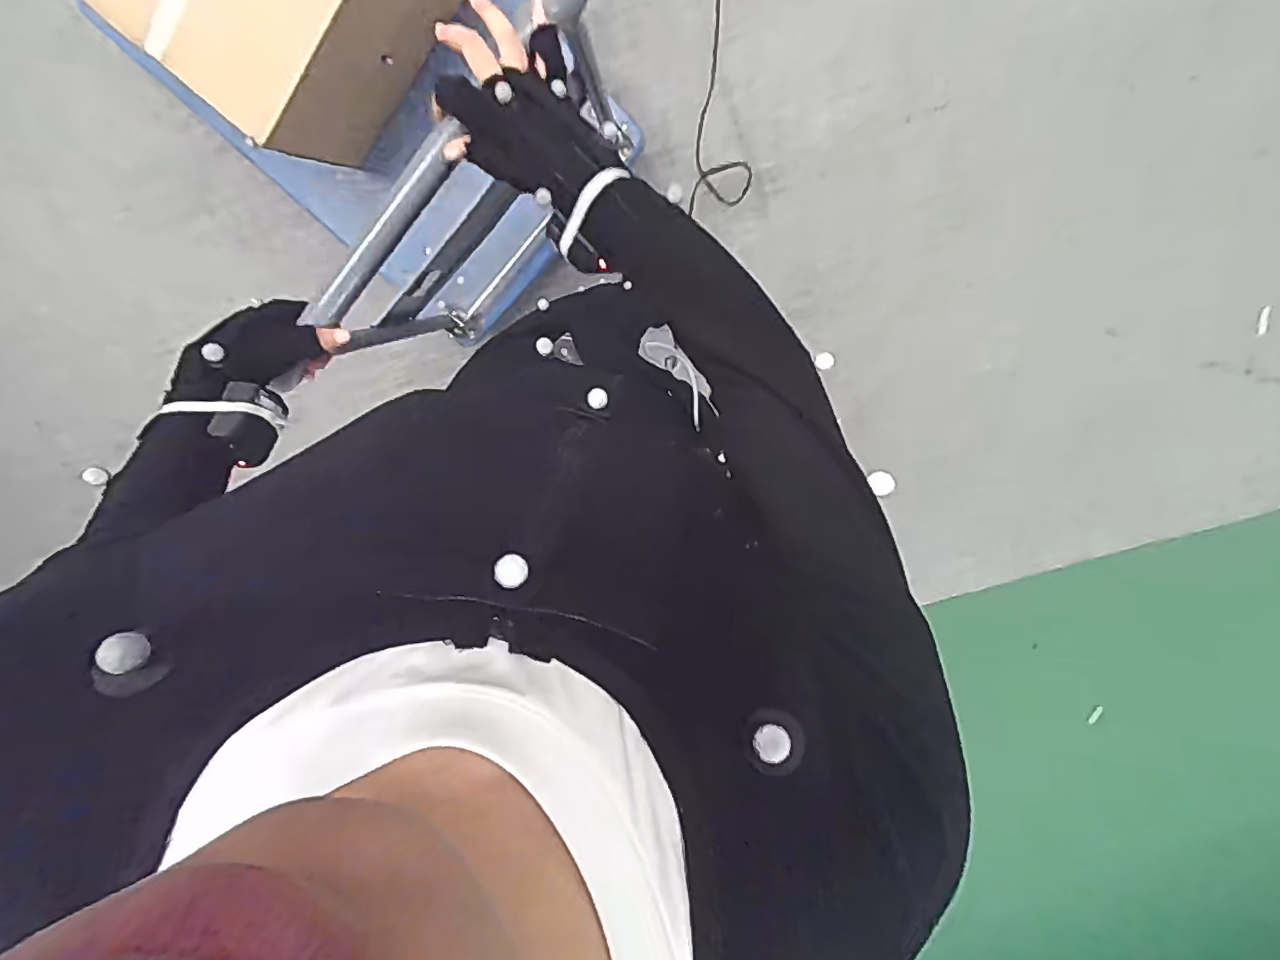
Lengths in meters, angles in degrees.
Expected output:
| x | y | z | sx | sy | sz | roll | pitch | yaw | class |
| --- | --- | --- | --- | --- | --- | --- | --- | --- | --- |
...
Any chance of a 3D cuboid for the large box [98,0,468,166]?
| x | y | z | sx | sy | sz | roll | pitch | yaw | class |
| --- | --- | --- | --- | --- | --- | --- | --- | --- | --- |
| -0.516 | -0.777 | 0.828 | 0.320 | 0.320 | 0.408 | 40 | 109 | -16 | large box |
